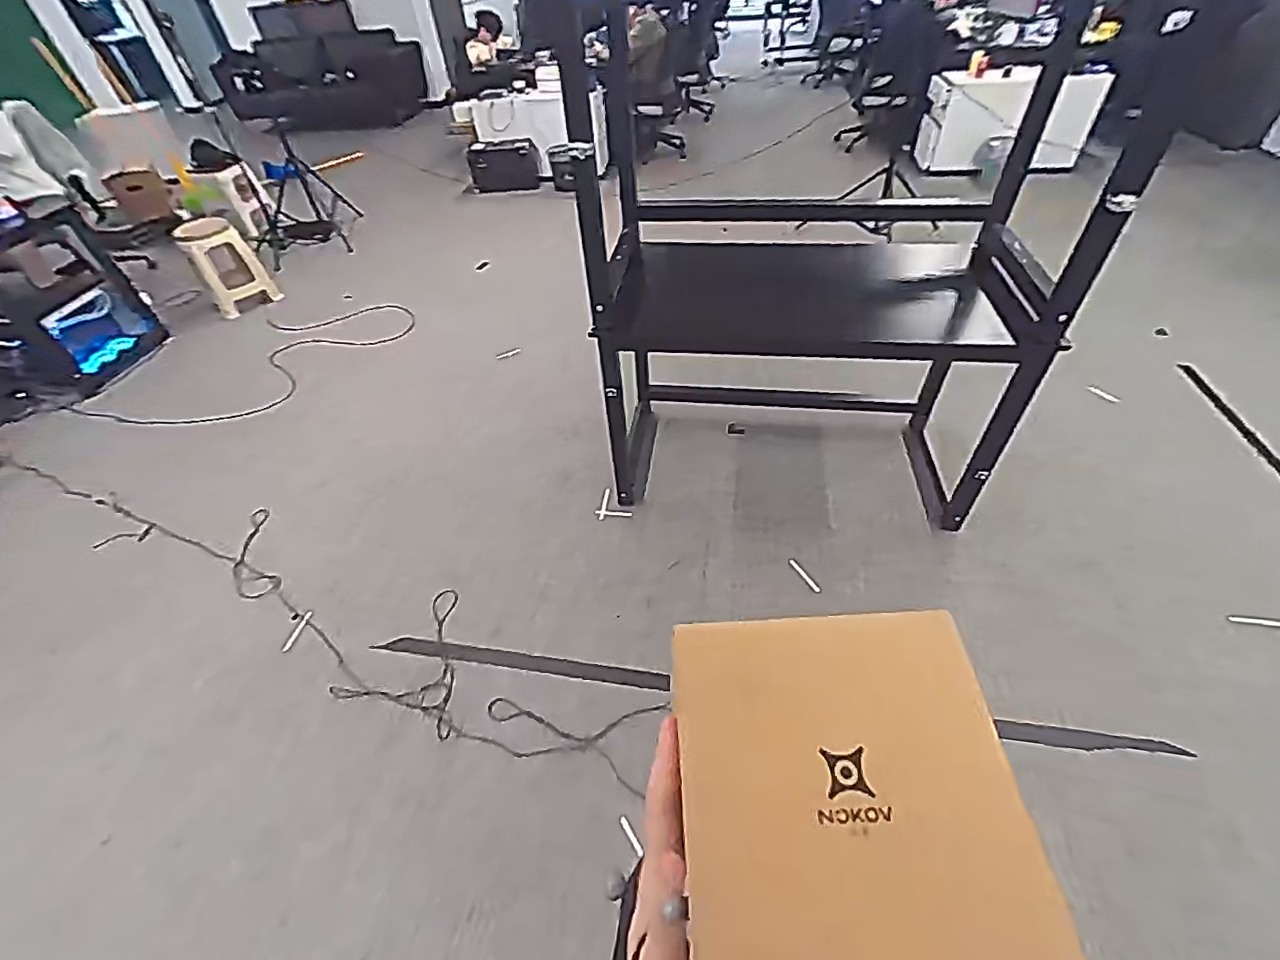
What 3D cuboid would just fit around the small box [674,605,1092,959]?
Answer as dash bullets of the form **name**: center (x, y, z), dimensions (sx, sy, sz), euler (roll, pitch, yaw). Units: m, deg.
- **small box**: center (0.107, 0.194, 0.332), dimensions (0.168, 0.176, 0.179), euler (-4, 54, 1)
